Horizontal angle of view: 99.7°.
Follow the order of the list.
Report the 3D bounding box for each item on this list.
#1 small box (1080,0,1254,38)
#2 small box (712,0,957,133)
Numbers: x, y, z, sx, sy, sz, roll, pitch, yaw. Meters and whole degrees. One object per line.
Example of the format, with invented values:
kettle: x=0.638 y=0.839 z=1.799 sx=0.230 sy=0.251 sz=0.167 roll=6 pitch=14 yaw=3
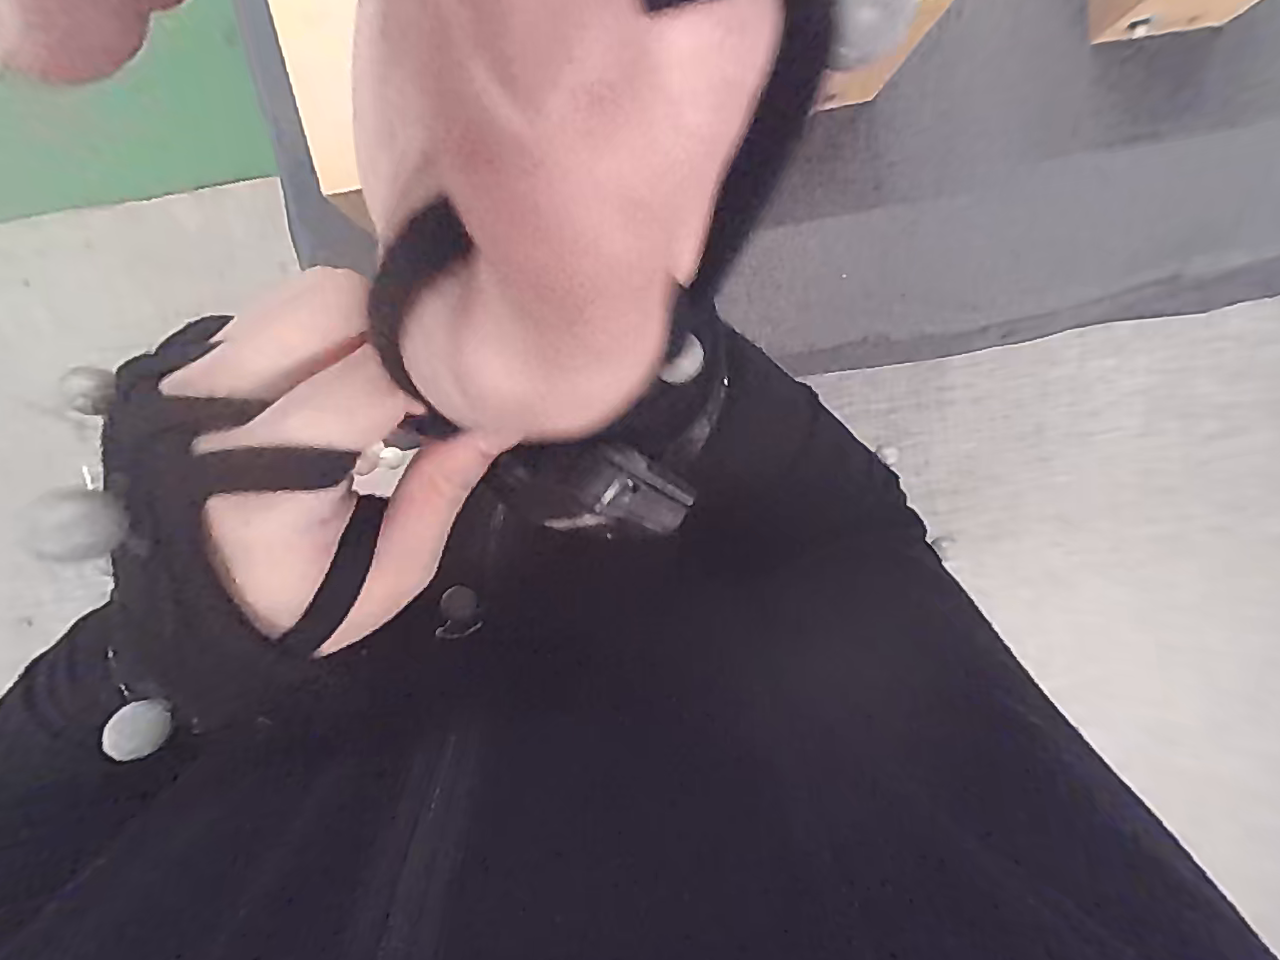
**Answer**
small box: x=0.582 y=-0.586 z=0.539 sx=0.168 sy=0.176 sz=0.179 roll=-10 pitch=97 yaw=-2
small box: x=0.173 y=-0.486 z=0.531 sx=0.168 sy=0.176 sz=0.179 roll=-13 pitch=98 yaw=-1
